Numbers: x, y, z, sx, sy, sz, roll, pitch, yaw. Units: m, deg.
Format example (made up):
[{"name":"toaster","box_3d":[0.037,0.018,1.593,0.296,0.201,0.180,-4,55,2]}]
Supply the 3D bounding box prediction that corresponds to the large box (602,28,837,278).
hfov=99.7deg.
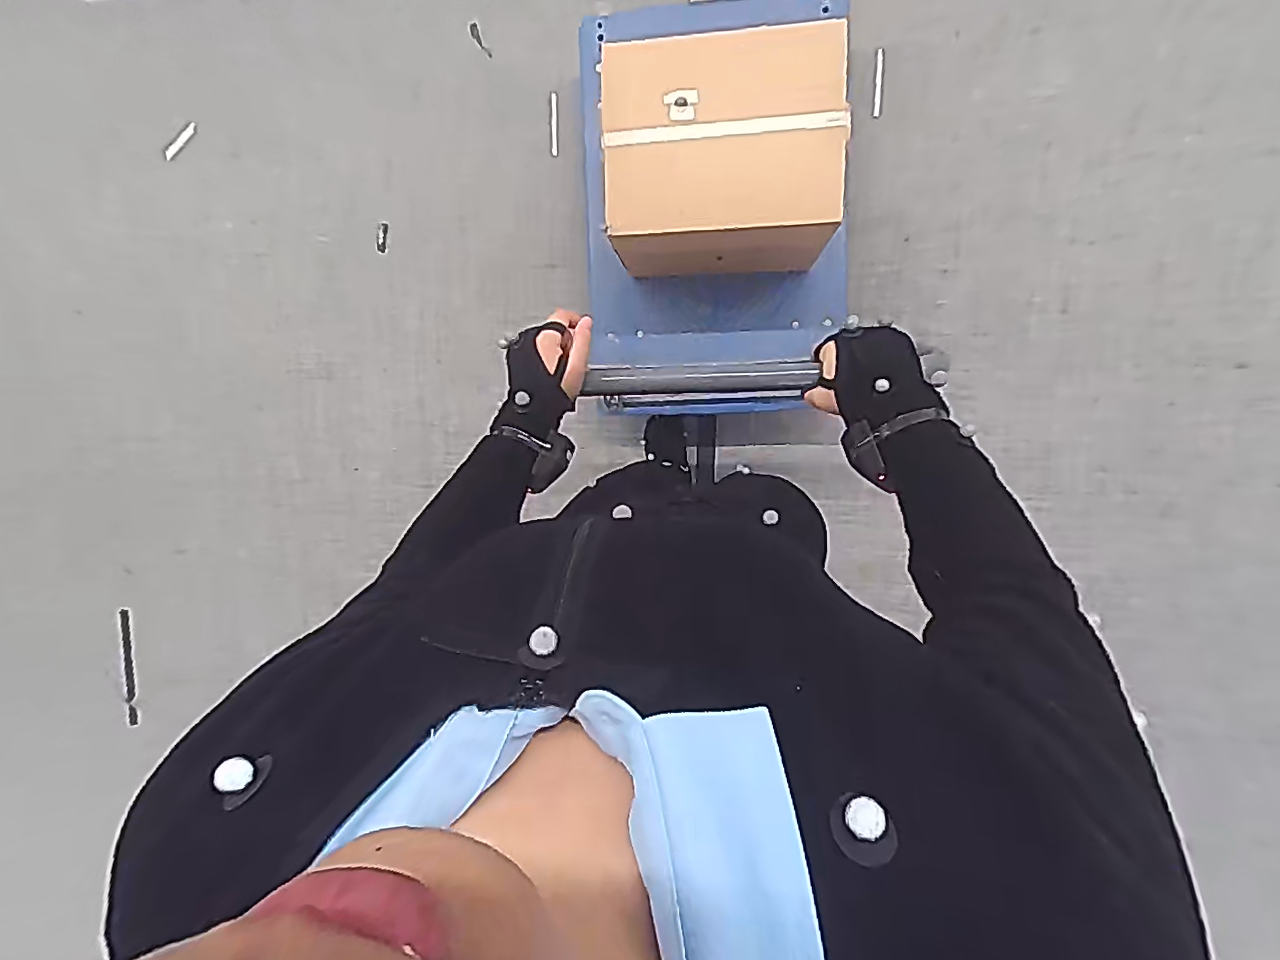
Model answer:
[{"name":"large box","box_3d":[0.156,-0.606,1.078,0.408,0.320,0.320,0,96,8]}]
